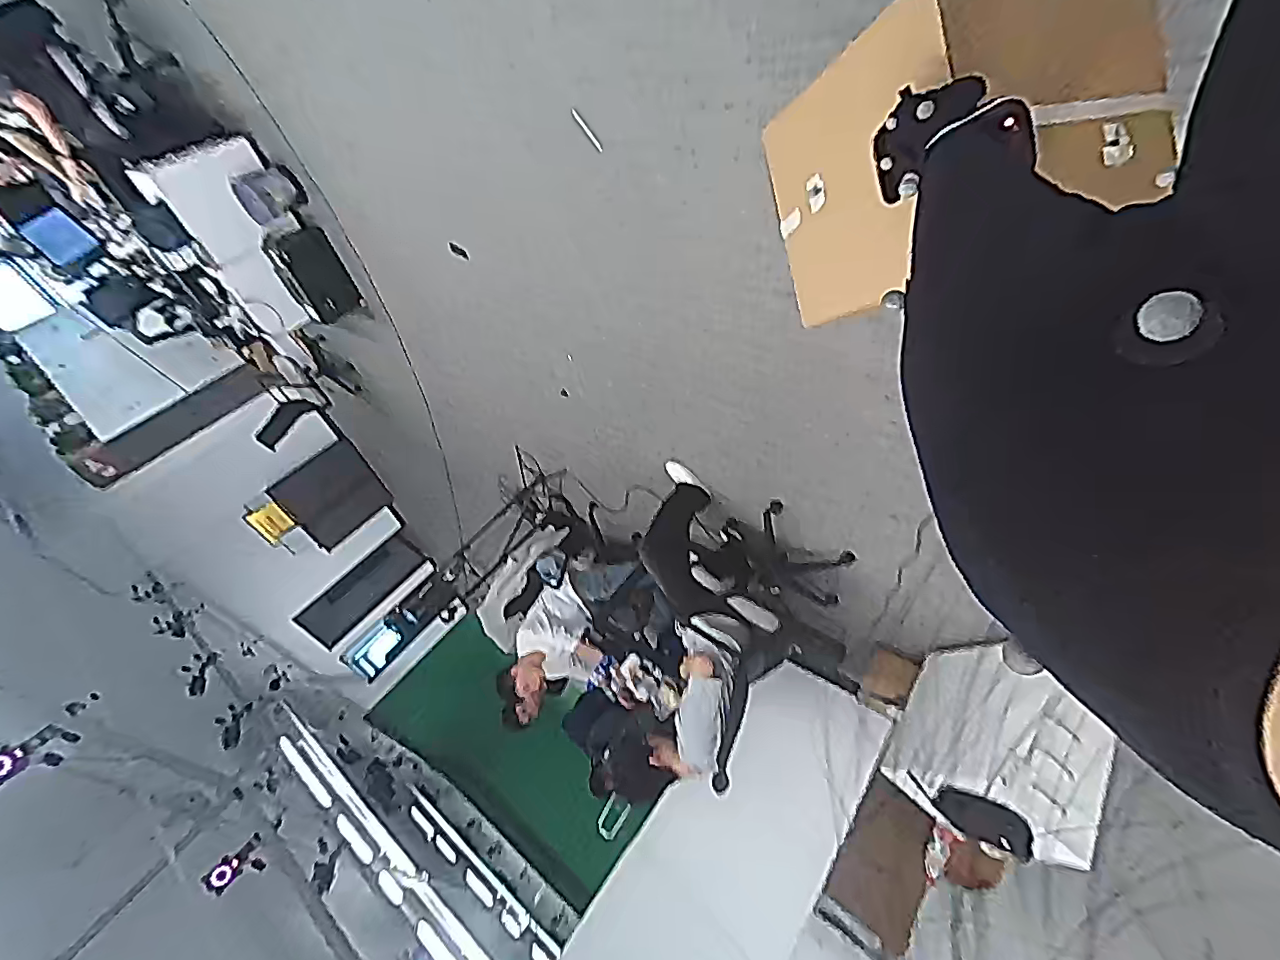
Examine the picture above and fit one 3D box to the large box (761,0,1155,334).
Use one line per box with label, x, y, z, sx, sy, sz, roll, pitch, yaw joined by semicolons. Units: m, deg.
large box;0.459;-0.442;0.817;0.320;0.408;0.320;3;109;68
